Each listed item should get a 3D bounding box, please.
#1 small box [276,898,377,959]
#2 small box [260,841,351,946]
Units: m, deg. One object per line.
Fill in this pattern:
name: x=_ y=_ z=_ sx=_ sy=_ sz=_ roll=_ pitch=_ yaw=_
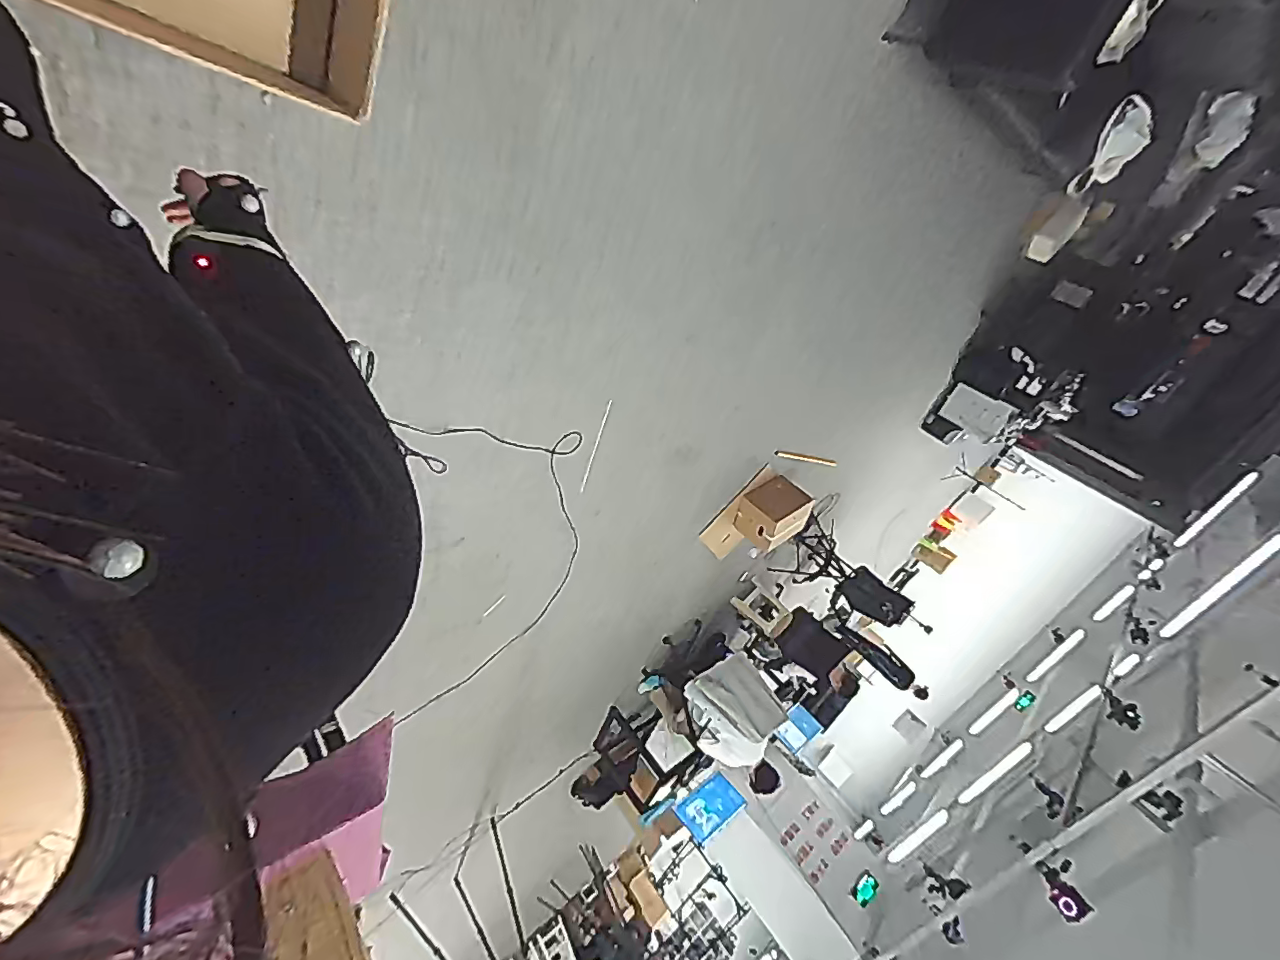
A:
small box: x=-0.768 y=1.188 z=1.335 sx=0.179 sy=0.176 sz=0.168 roll=-16 pitch=138 yaw=-38
small box: x=-0.873 y=1.093 z=1.415 sx=0.168 sy=0.176 sz=0.179 roll=-15 pitch=138 yaw=-40
